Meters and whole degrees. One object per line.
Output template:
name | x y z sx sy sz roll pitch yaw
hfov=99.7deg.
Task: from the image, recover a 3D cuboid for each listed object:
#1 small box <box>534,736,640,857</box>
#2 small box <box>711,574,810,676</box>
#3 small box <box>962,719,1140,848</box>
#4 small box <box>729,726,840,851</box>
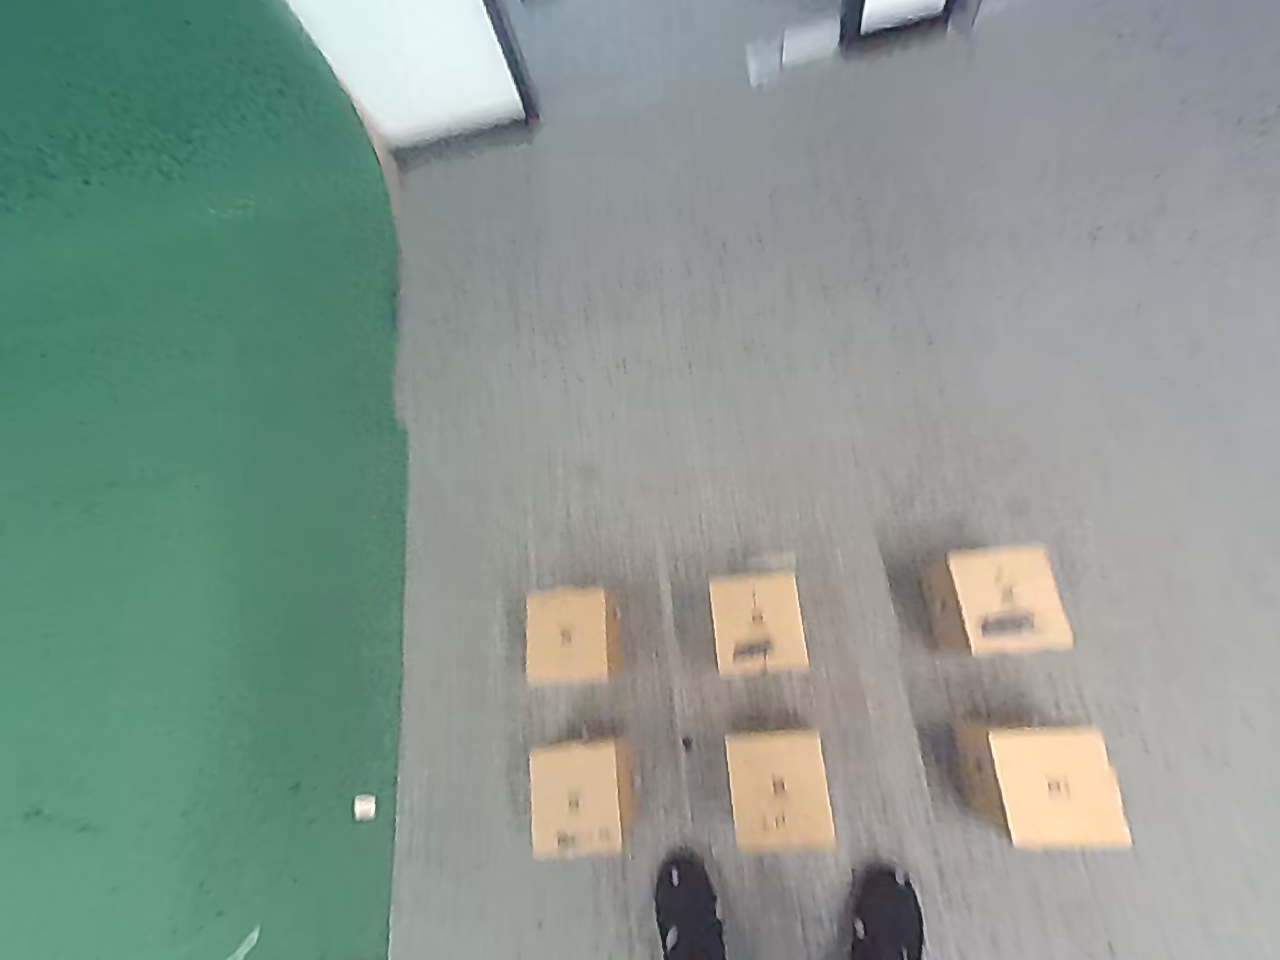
small box | -0.098 0.597 1.042 0.168 0.176 0.179 -8 70 8
small box | 0.236 0.290 1.078 0.168 0.176 0.179 -7 71 8
small box | 0.682 0.512 0.929 0.179 0.176 0.168 -6 72 7
small box | 0.254 0.553 0.991 0.168 0.176 0.179 -7 72 8
